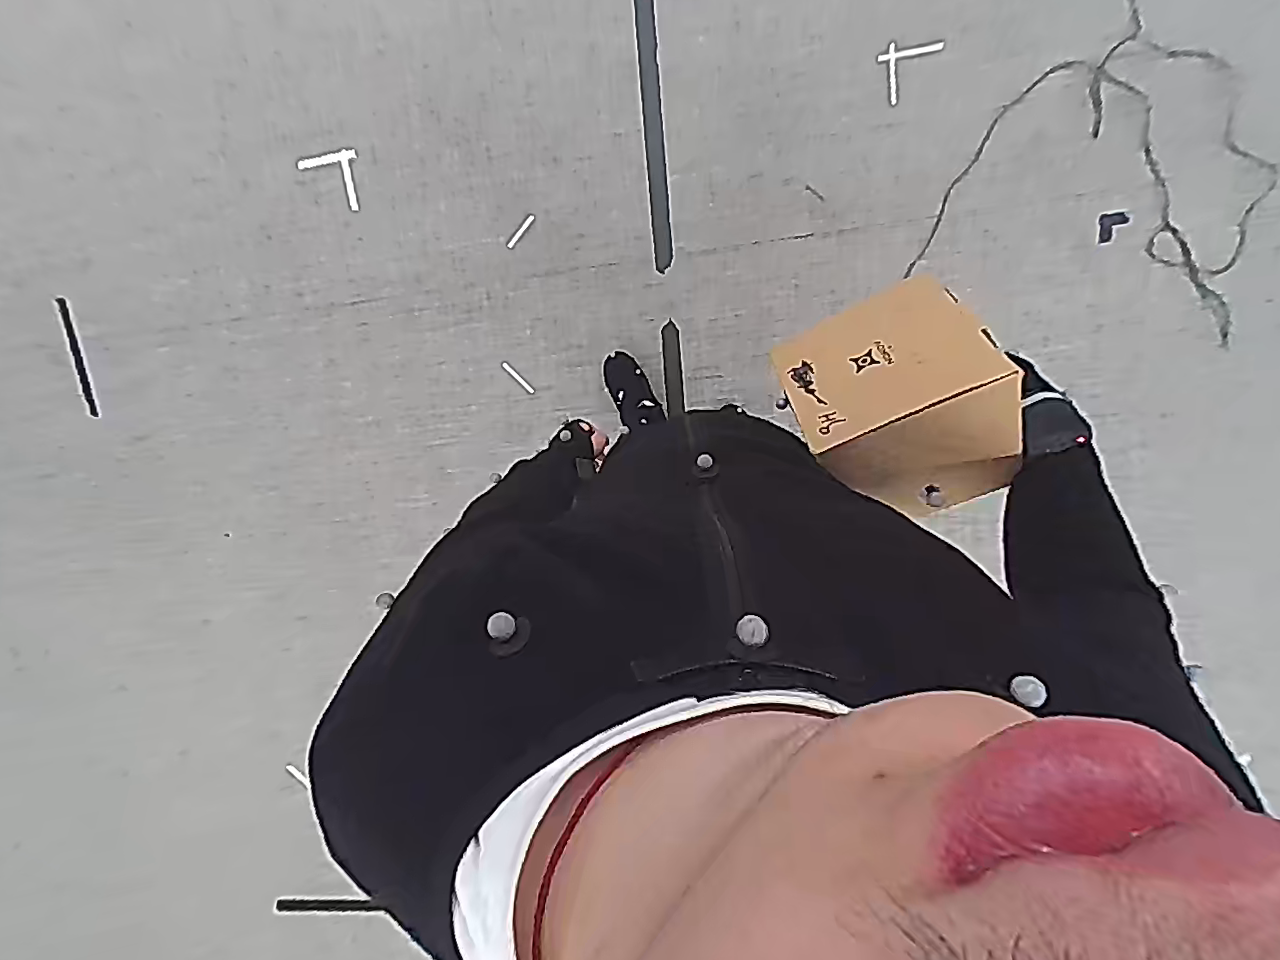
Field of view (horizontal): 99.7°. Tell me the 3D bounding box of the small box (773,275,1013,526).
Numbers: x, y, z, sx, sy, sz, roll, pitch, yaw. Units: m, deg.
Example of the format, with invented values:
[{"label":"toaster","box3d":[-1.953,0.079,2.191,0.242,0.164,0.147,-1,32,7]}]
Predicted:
[{"label":"small box","box3d":[0.270,-0.078,0.589,0.179,0.168,0.176,-24,135,18]}]
